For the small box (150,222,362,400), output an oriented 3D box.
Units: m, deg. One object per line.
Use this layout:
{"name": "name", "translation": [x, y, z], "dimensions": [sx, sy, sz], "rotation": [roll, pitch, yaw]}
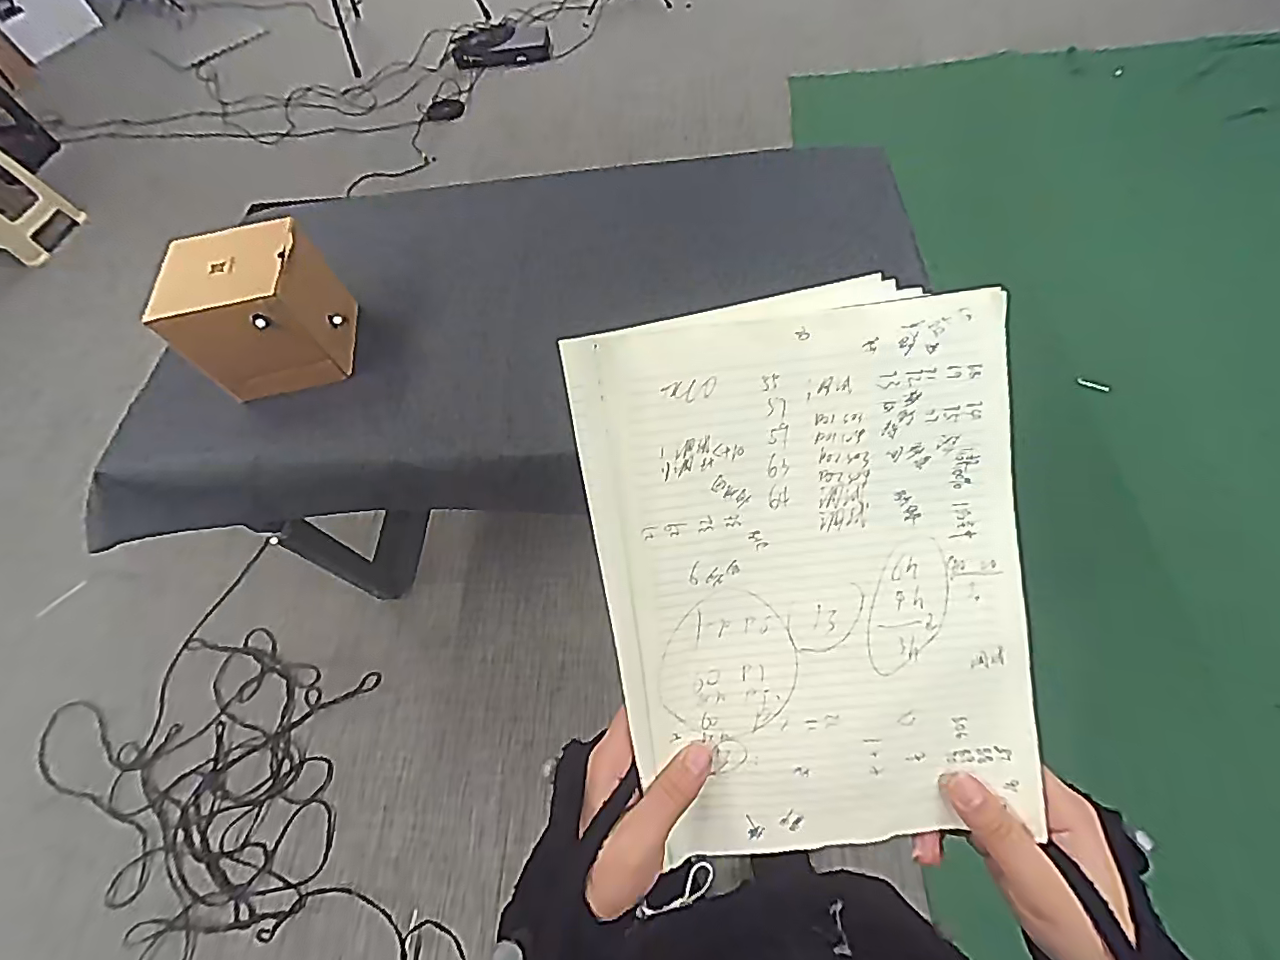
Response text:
{"name": "small box", "translation": [-0.544, -0.240, 0.794], "dimensions": [0.179, 0.176, 0.168], "rotation": [-12, 59, 0]}
